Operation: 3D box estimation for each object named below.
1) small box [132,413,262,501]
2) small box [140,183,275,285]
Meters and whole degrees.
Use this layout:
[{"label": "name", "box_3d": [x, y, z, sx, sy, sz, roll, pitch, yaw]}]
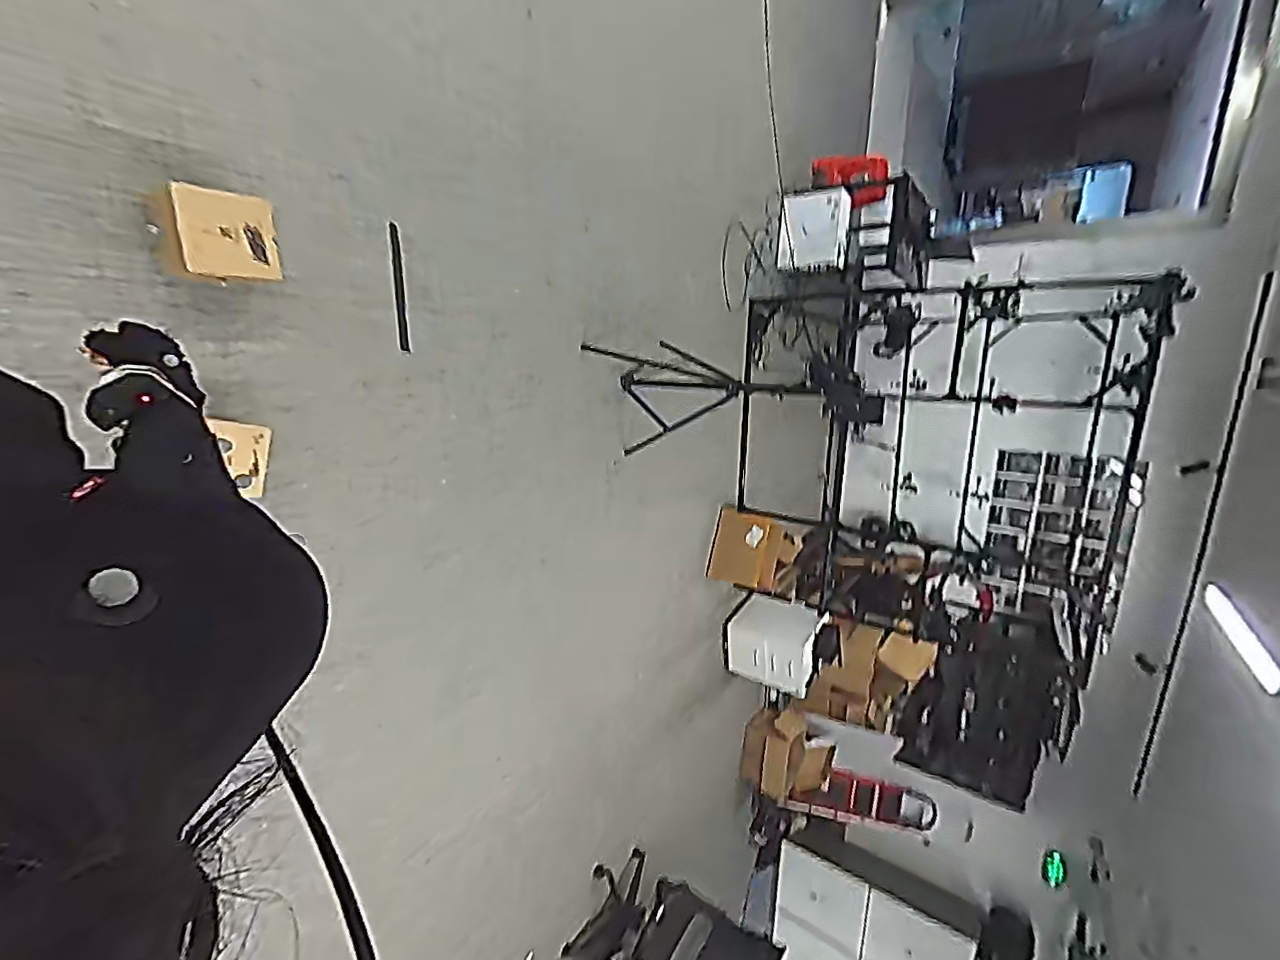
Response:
[{"label": "small box", "box_3d": [-0.980, -0.051, 1.193, 0.179, 0.176, 0.168, 10, 90, -55]}, {"label": "small box", "box_3d": [-0.924, -0.515, 1.159, 0.179, 0.176, 0.168, -17, 111, -52]}]
